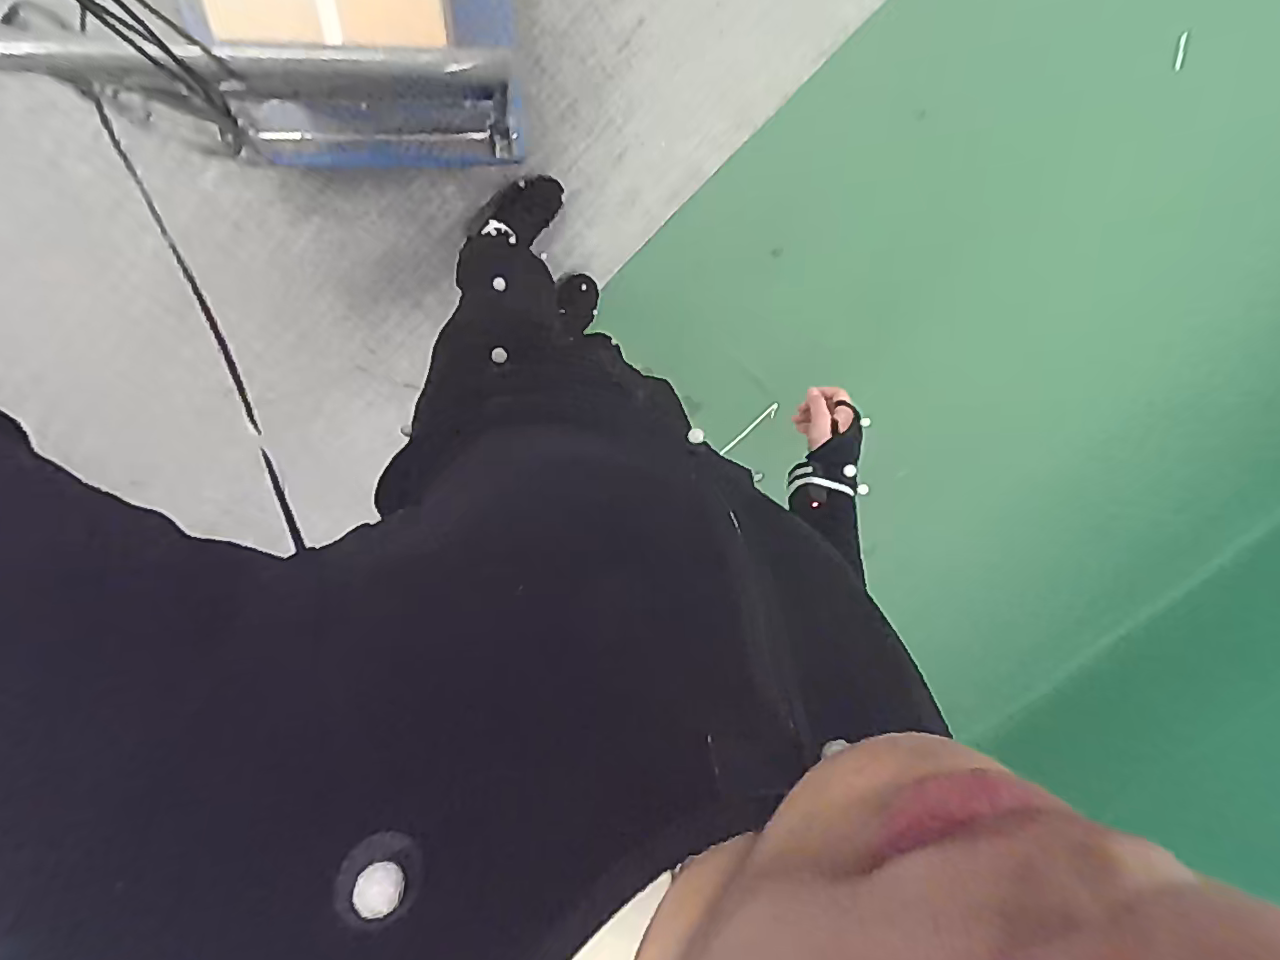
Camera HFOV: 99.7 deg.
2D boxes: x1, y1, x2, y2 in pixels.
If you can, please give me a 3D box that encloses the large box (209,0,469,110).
[{"bbox_3d":[-0.467,-0.834,0.830,0.320,0.320,0.408,-7,118,-10],"label":"large box"}]
